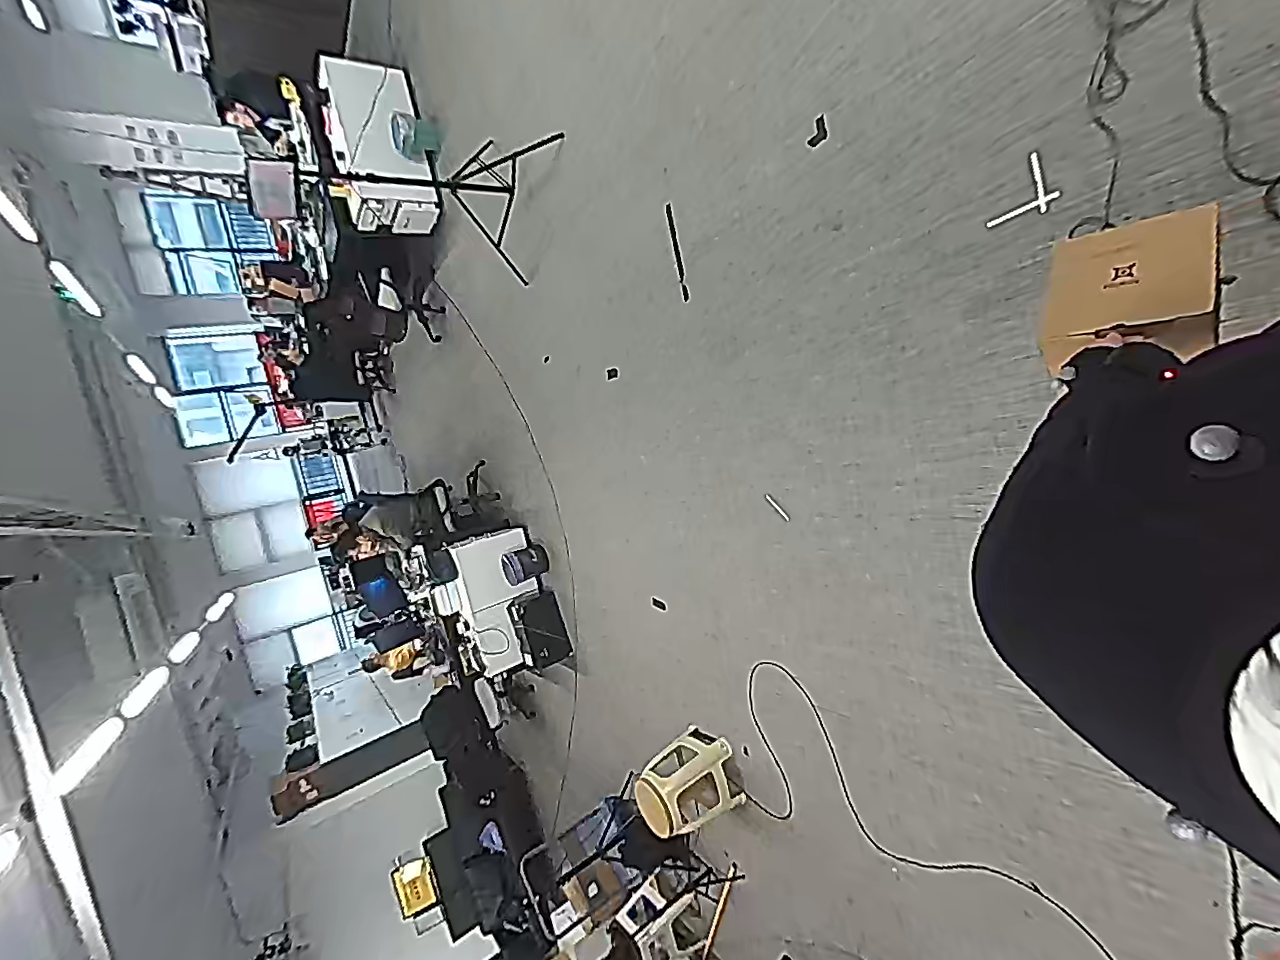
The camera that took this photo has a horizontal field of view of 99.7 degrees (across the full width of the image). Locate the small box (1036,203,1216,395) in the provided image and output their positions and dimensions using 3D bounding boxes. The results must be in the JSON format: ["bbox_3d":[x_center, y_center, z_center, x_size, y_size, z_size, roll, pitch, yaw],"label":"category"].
[{"bbox_3d":[0.676,-0.231,0.749,0.168,0.176,0.179,1,64,47],"label":"small box"}]
